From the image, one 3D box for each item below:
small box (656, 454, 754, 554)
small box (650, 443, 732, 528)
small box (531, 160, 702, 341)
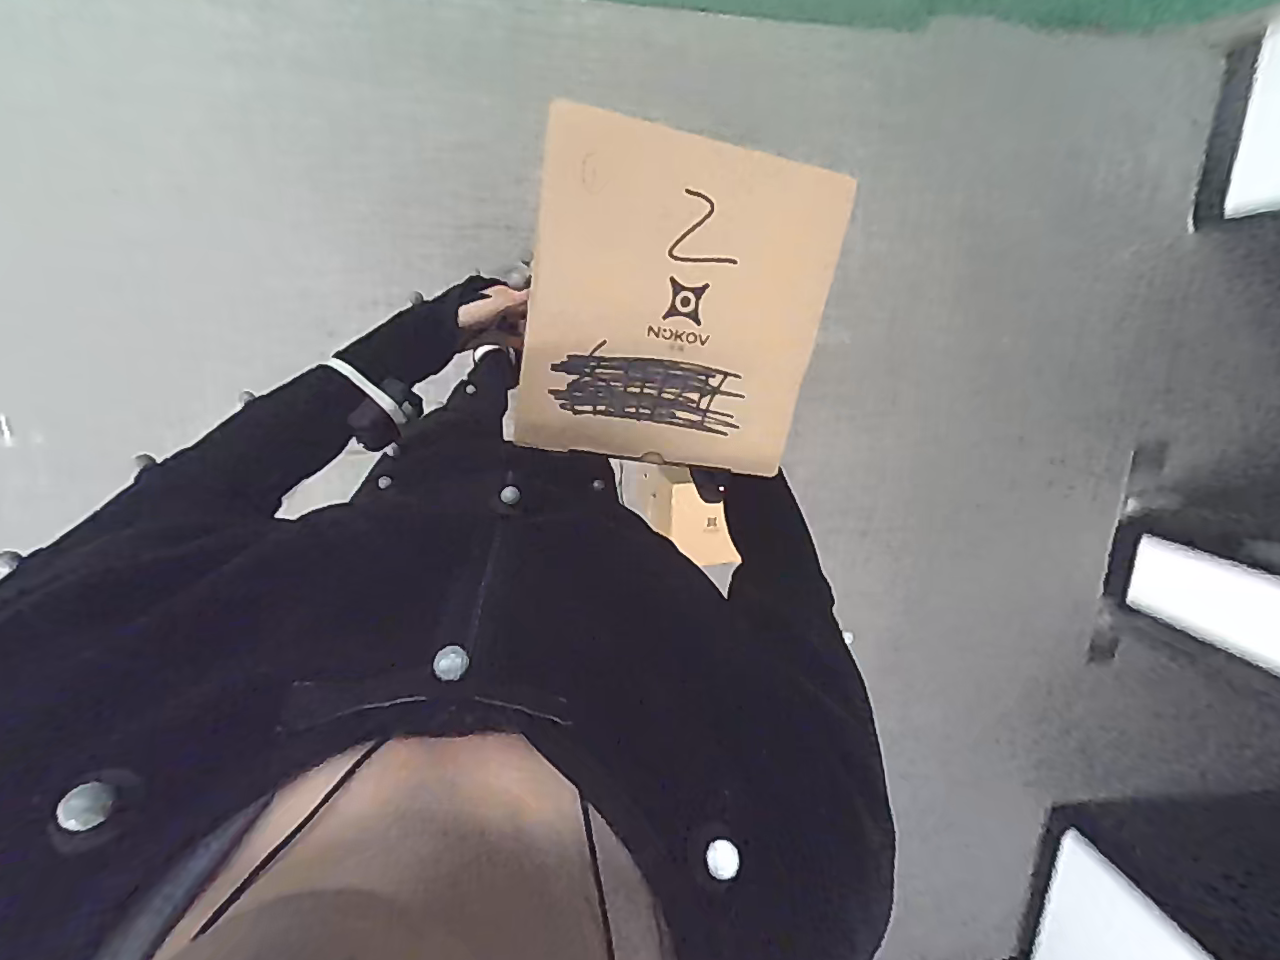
[{"bbox_3d":[0.130,0.042,1.149,0.168,0.176,0.179,-2,106,-9],"label":"small box"},{"bbox_3d":[0.119,0.012,1.310,0.168,0.176,0.179,-3,104,-8],"label":"small box"},{"bbox_3d":[-0.041,-0.276,0.668,0.179,0.176,0.168,4,111,-11],"label":"small box"}]
